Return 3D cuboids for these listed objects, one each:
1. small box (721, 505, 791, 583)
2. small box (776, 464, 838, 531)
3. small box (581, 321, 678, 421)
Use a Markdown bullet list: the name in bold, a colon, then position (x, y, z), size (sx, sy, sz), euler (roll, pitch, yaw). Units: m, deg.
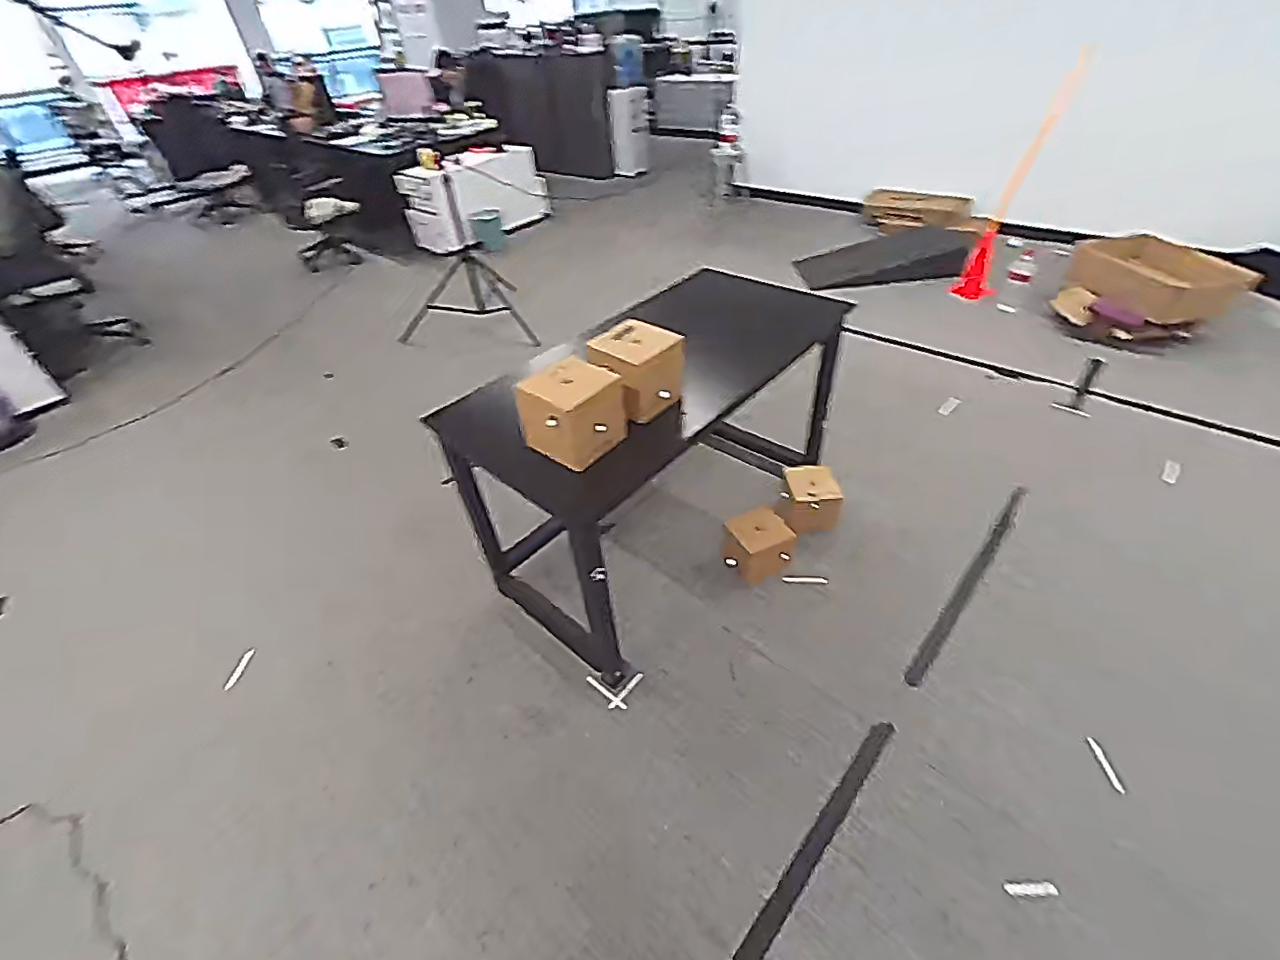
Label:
- **small box**: position (0.392, 0.220, 1.854), size (0.179, 0.176, 0.168), euler (-23, 44, -16)
- **small box**: position (0.609, 0.064, 1.996), size (0.168, 0.176, 0.179), euler (-7, 42, 0)
- **small box**: position (-0.021, -0.272, 1.354), size (0.179, 0.176, 0.168), euler (29, 52, 32)
